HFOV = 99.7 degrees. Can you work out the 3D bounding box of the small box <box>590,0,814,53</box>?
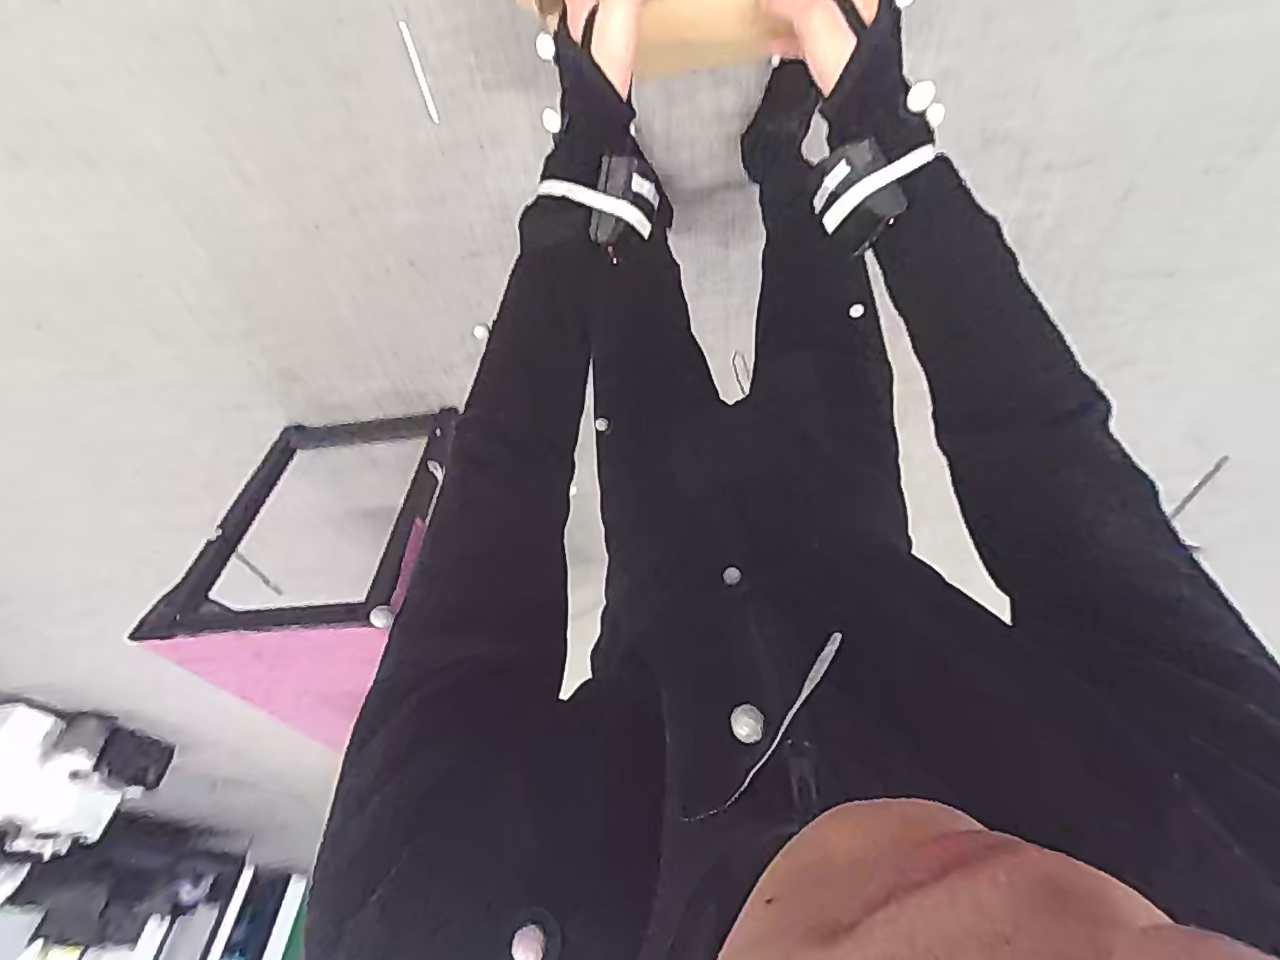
[{"bbox_3d":[0.045,-0.442,0.374,0.168,0.176,0.179,-2,156,-2],"label":"small box"}]
